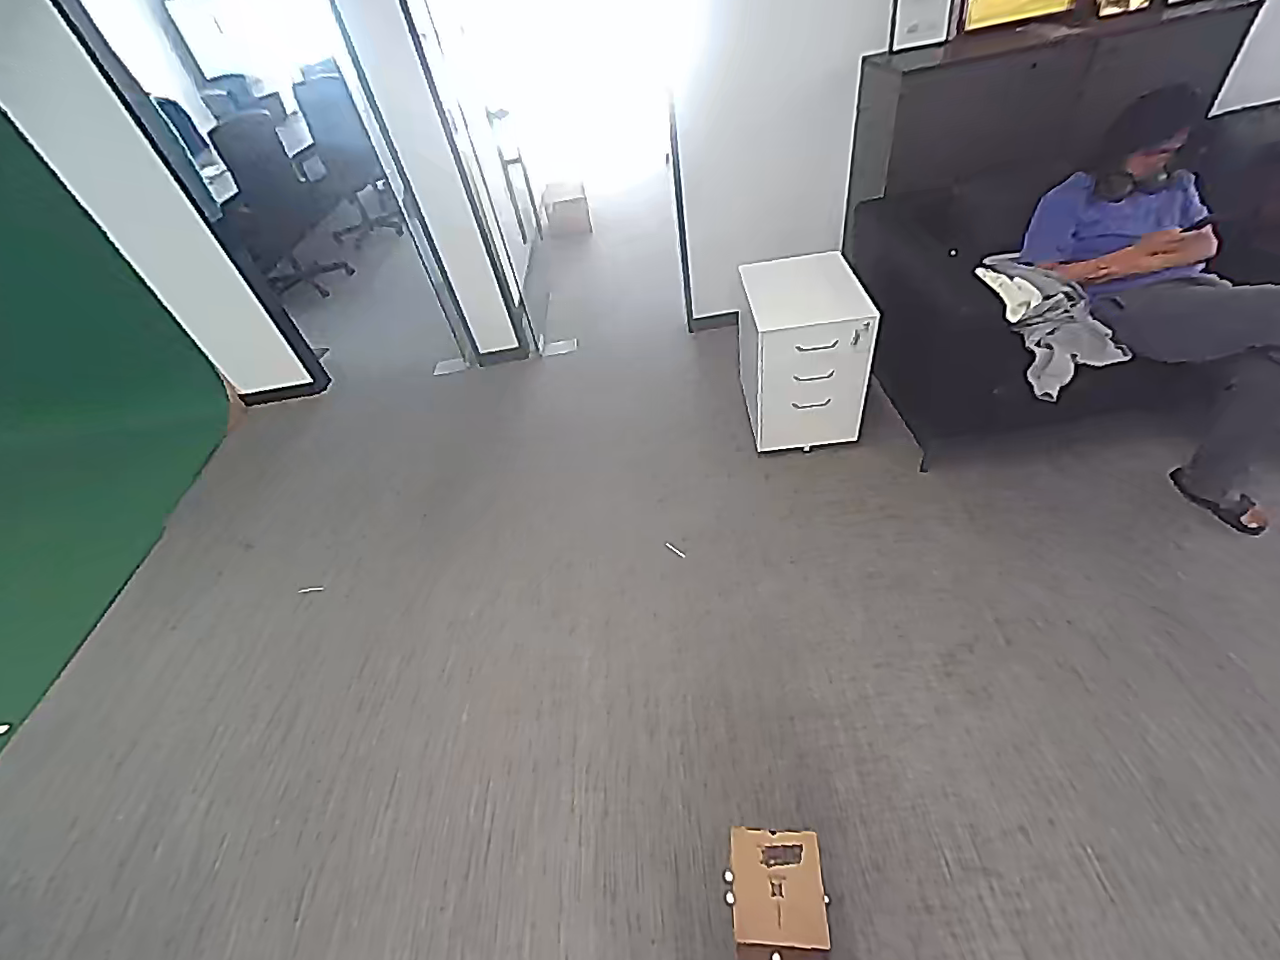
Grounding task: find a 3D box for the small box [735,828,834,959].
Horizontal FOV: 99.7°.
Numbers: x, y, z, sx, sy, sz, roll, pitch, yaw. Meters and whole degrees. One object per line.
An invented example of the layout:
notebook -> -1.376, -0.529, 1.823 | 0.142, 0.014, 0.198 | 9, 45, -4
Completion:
small box -> 0.269, 0.801, 1.046 | 0.168, 0.176, 0.179 | -2, 45, 9
